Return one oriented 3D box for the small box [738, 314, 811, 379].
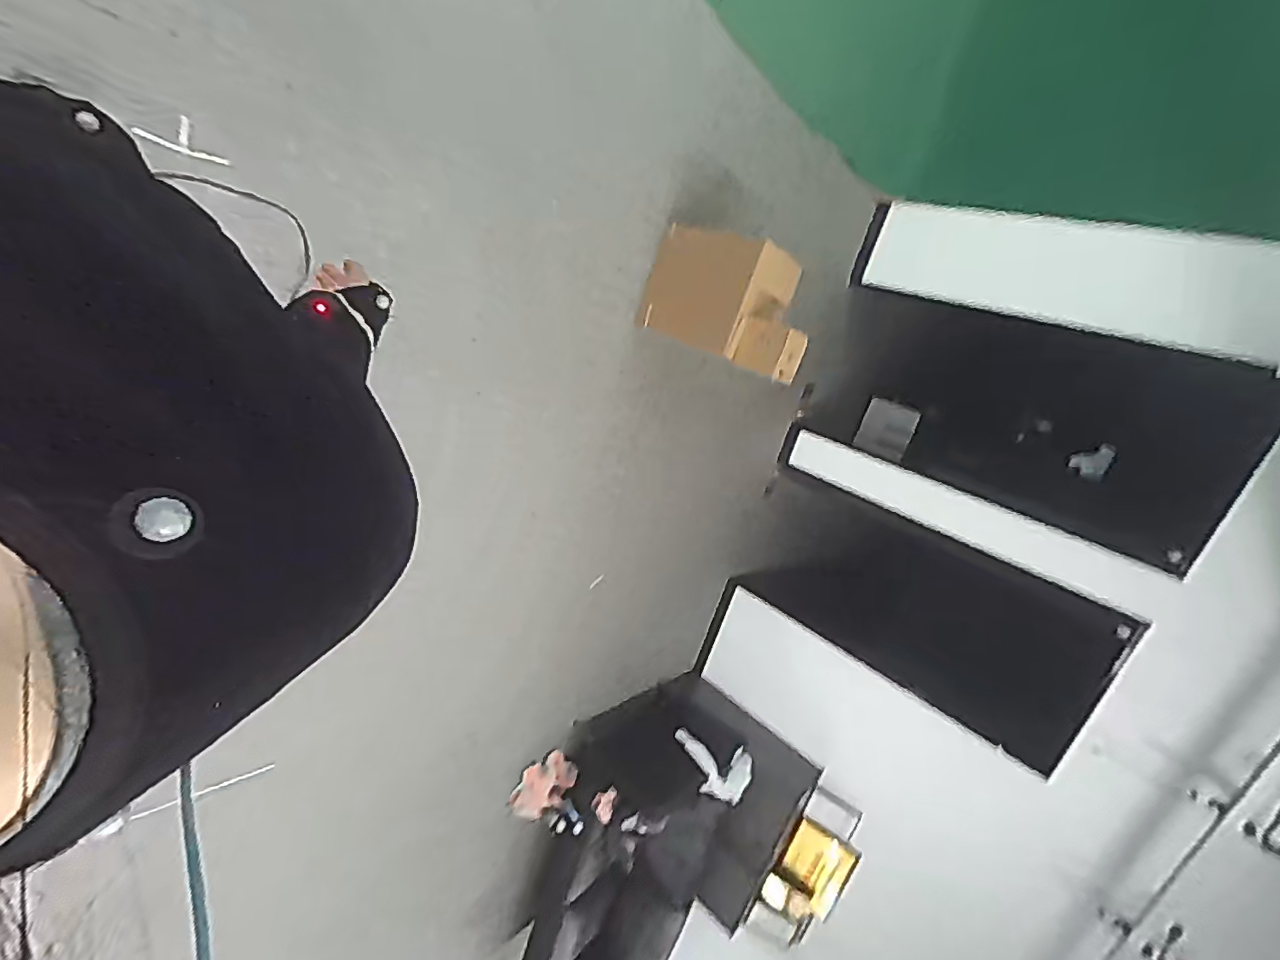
[{"bbox_3d":[0.474,-0.476,1.920,0.168,0.176,0.179,0,113,-50],"label":"small box"}]
